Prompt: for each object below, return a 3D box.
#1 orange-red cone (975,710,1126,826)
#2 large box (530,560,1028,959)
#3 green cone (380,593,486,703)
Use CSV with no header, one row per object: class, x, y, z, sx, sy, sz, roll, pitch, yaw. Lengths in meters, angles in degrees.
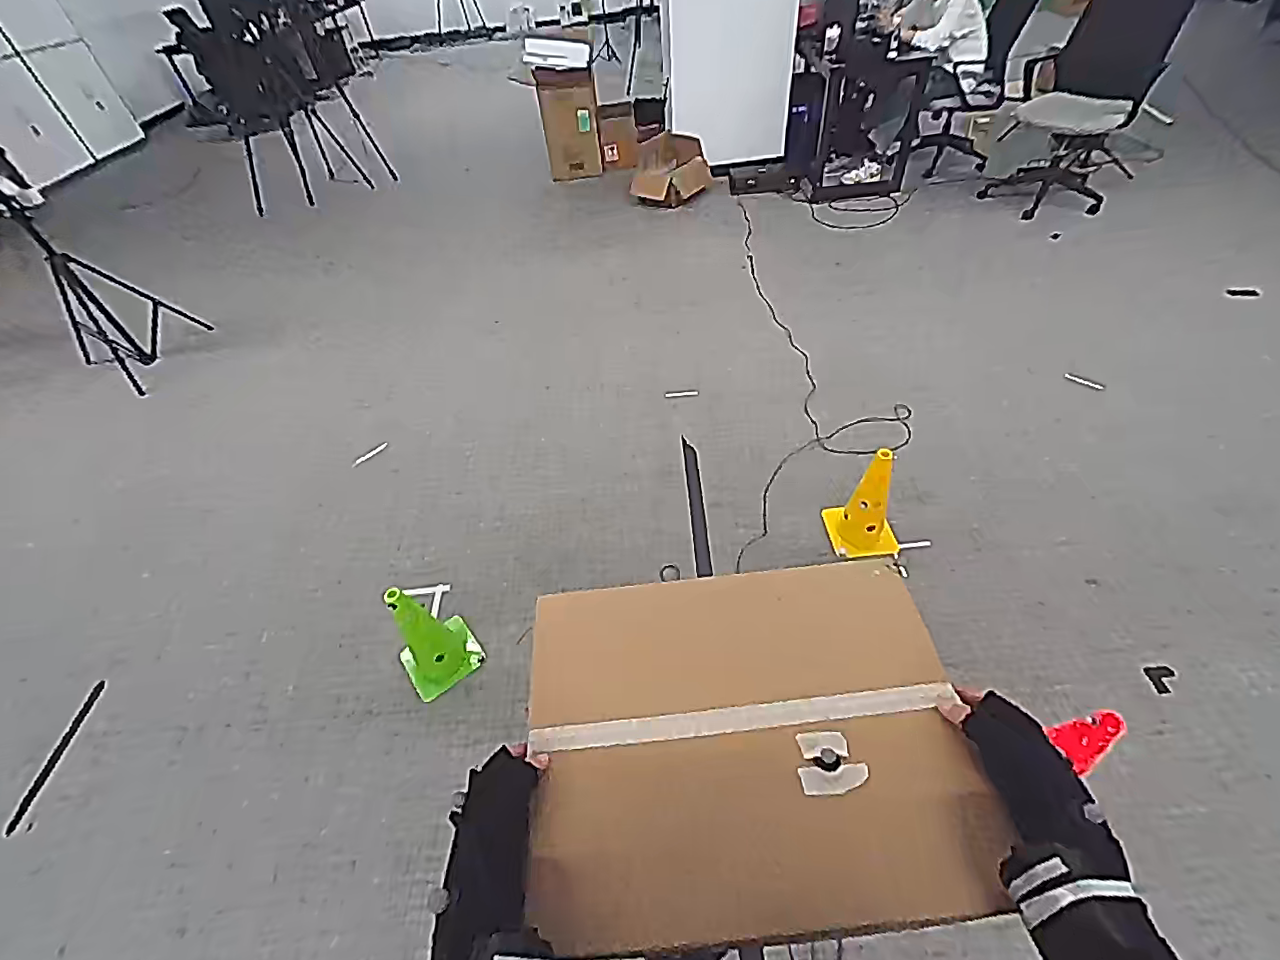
orange-red cone,0.895,0.564,1.130,0.198,0.360,0.199,-7,45,0
large box,0.106,0.327,0.629,0.408,0.320,0.320,-6,48,0
green cone,-0.597,0.410,1.466,0.202,0.368,0.200,-35,52,-21
